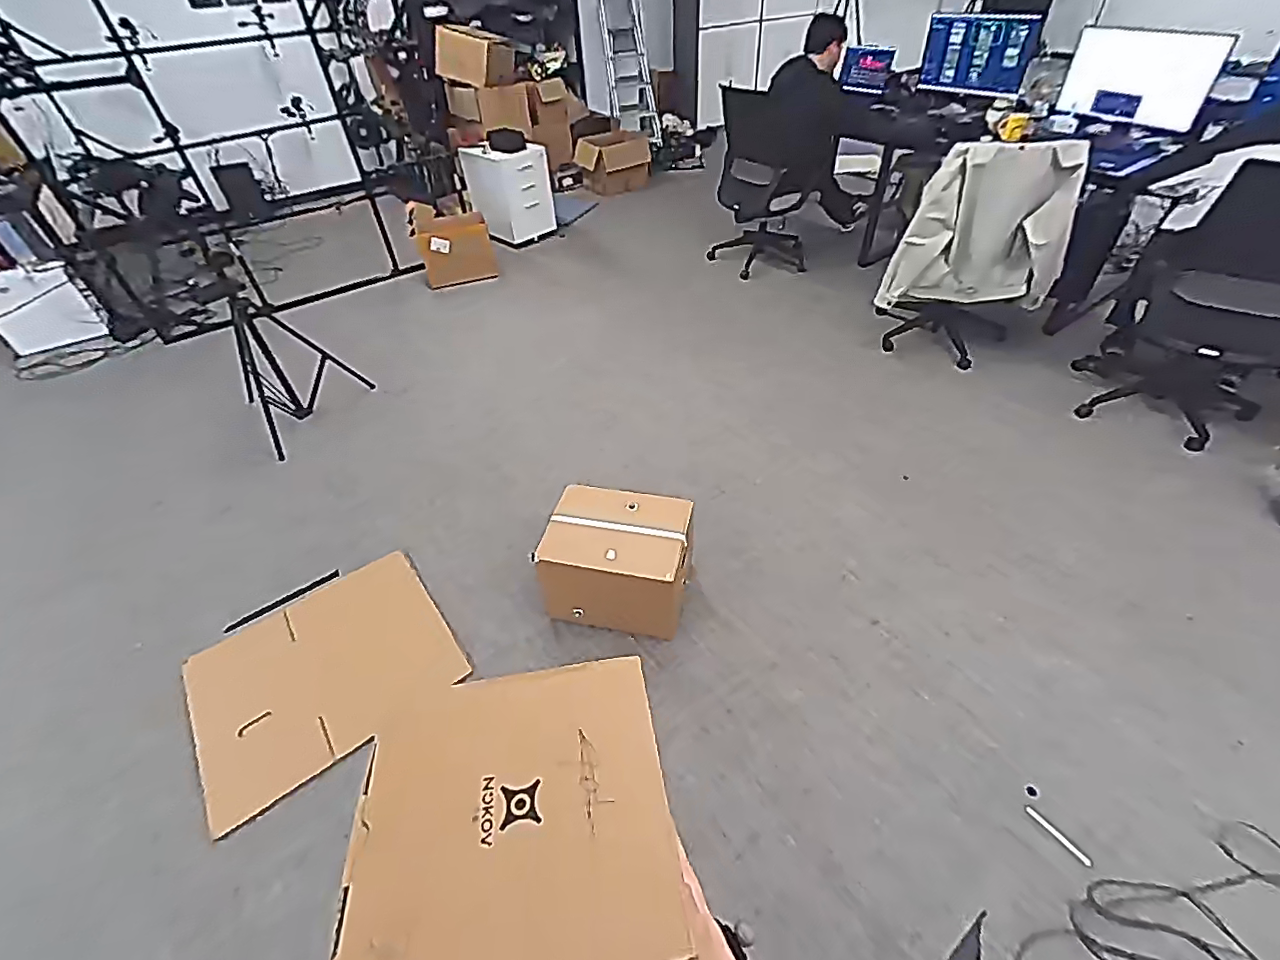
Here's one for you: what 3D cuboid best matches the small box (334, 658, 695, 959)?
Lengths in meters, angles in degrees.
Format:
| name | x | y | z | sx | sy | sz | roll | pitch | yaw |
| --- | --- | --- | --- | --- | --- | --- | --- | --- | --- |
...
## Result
| name | x | y | z | sx | sy | sz | roll | pitch | yaw |
| --- | --- | --- | --- | --- | --- | --- | --- | --- | --- |
| small box | -0.068 | 0.248 | 0.359 | 0.179 | 0.176 | 0.168 | -7 | 41 | -7 |
